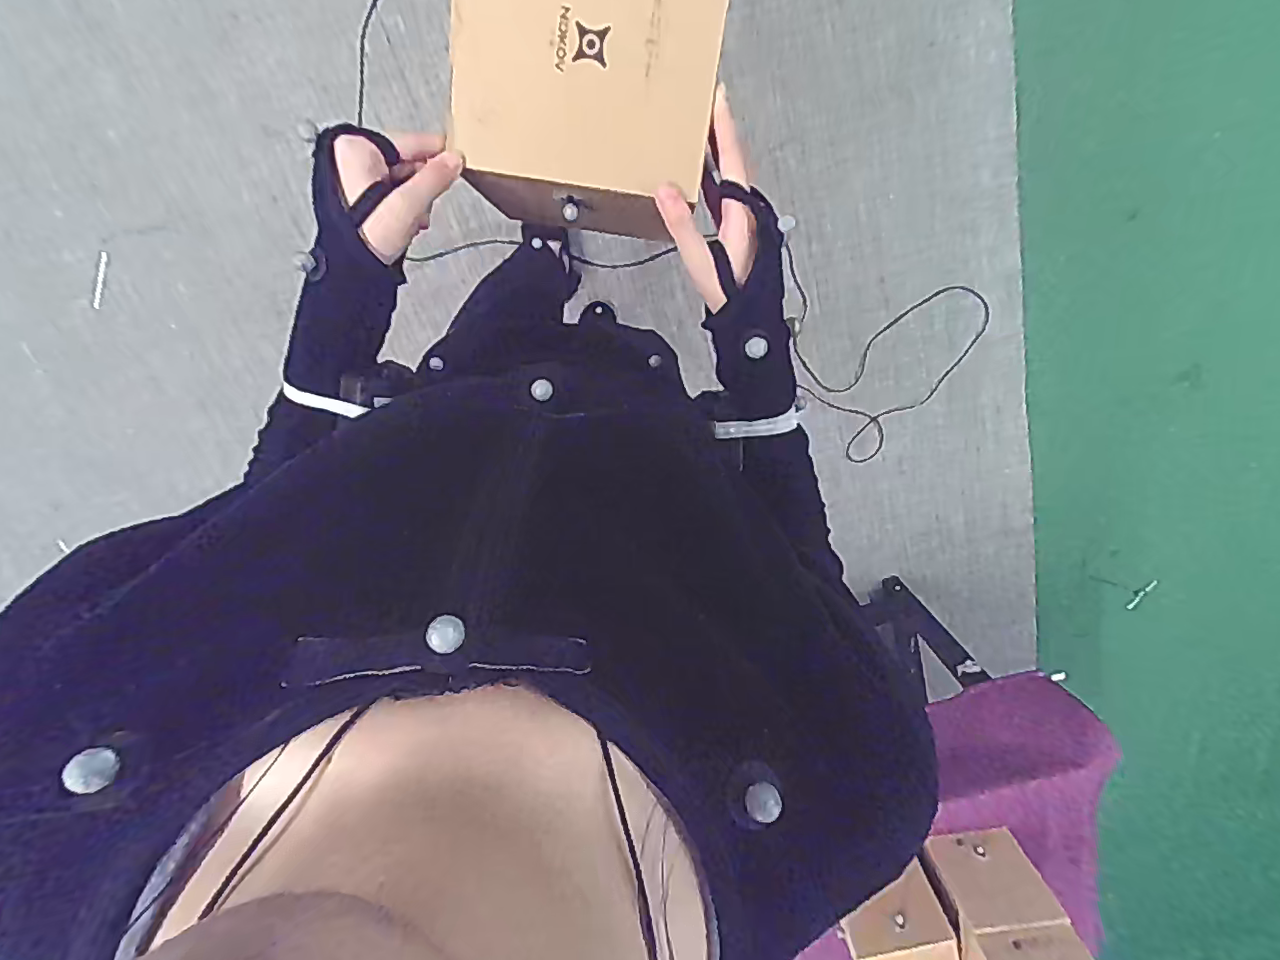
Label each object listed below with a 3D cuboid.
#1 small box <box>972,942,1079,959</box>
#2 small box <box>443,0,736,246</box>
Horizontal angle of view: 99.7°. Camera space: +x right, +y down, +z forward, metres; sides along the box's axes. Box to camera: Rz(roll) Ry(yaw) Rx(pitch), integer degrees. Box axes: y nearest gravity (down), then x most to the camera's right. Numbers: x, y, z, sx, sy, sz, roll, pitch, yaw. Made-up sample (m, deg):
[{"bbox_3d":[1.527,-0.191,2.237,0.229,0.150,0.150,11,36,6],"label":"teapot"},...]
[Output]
[{"bbox_3d":[0.646,0.874,0.855,0.168,0.176,0.179,-8,110,0],"label":"small box"},{"bbox_3d":[-0.031,-0.295,0.422,0.179,0.176,0.168,10,103,-3],"label":"small box"}]
